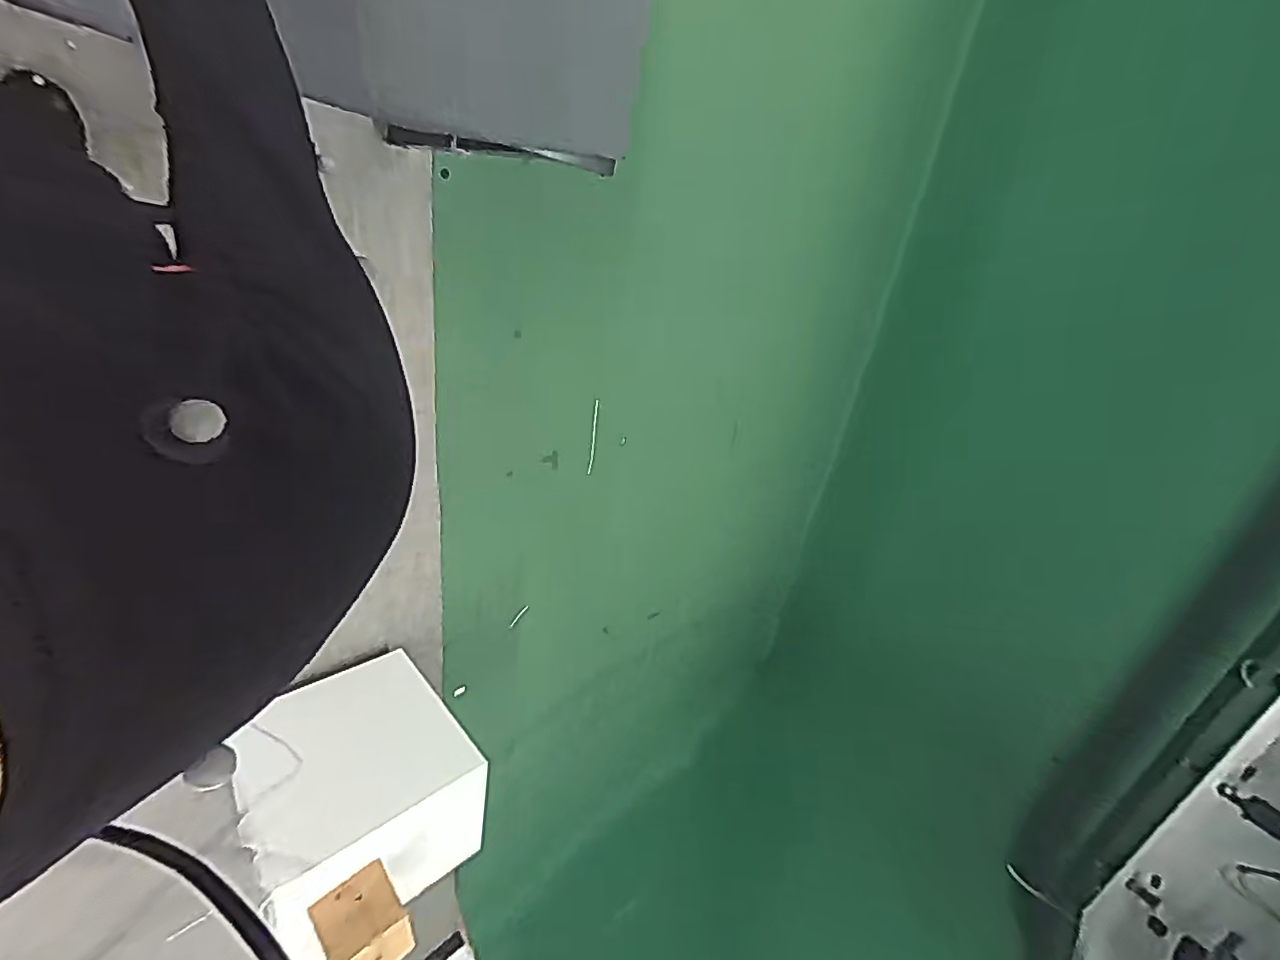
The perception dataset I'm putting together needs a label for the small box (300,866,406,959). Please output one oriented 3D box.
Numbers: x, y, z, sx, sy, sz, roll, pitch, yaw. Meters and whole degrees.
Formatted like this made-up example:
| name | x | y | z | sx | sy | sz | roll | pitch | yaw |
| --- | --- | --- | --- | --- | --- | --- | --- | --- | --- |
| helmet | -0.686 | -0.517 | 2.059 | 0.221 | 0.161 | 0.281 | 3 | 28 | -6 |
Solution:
| name | x | y | z | sx | sy | sz | roll | pitch | yaw |
| --- | --- | --- | --- | --- | --- | --- | --- | --- | --- |
| small box | -0.681 | 1.079 | 1.290 | 0.168 | 0.176 | 0.179 | -22 | 129 | -41 |
